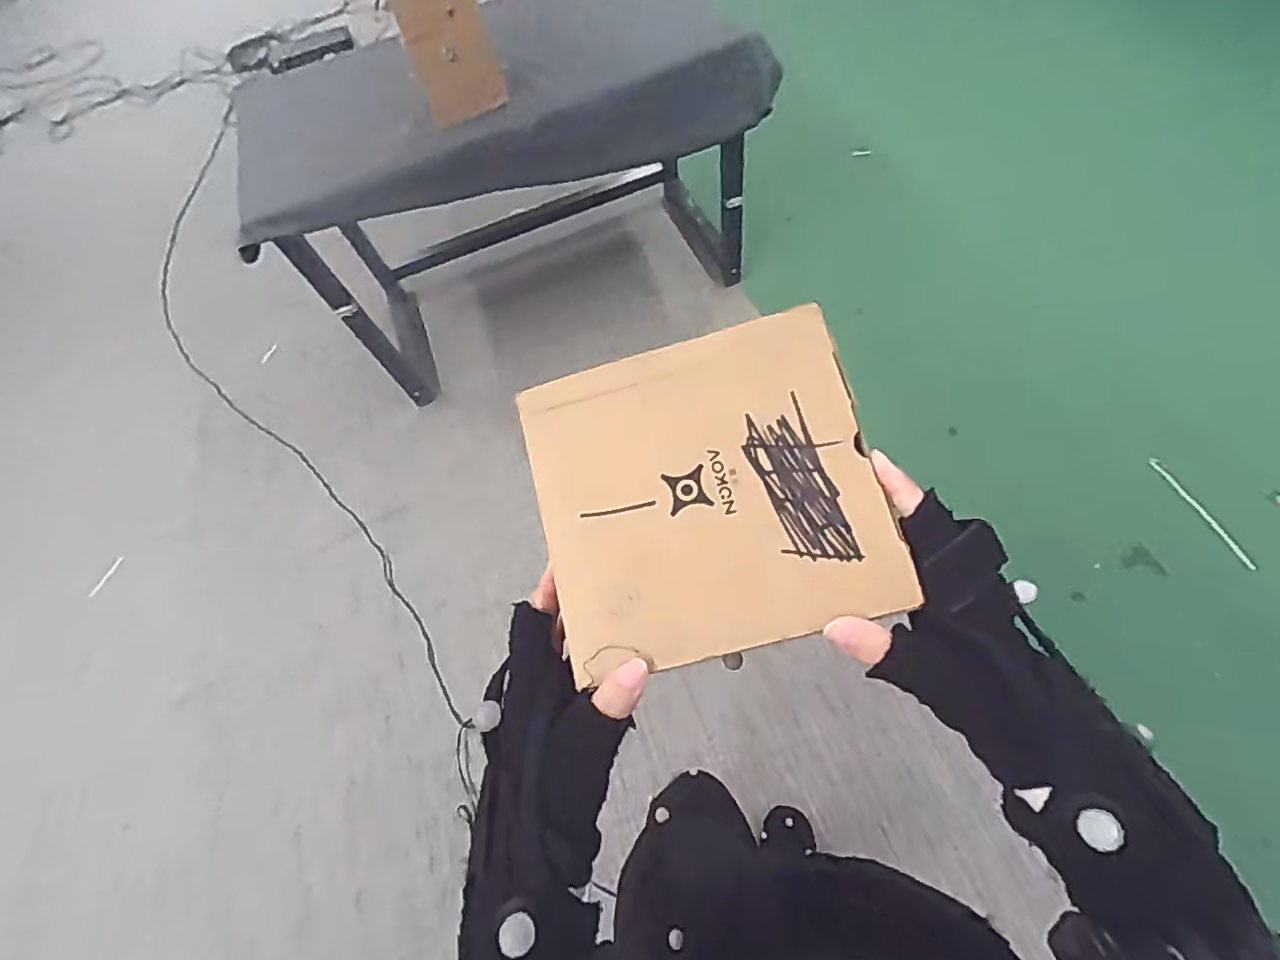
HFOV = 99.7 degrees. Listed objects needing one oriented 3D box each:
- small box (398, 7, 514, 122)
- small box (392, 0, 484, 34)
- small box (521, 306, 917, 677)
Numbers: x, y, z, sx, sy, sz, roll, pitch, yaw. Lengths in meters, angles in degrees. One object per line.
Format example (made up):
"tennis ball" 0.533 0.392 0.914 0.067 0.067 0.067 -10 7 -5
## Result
"small box" -0.399 -0.927 1.185 0.179 0.176 0.168 -21 63 -3
"small box" -0.421 -1.003 1.042 0.168 0.176 0.179 -23 63 -3
"small box" 0.043 0.018 0.360 0.179 0.176 0.168 -15 76 4
